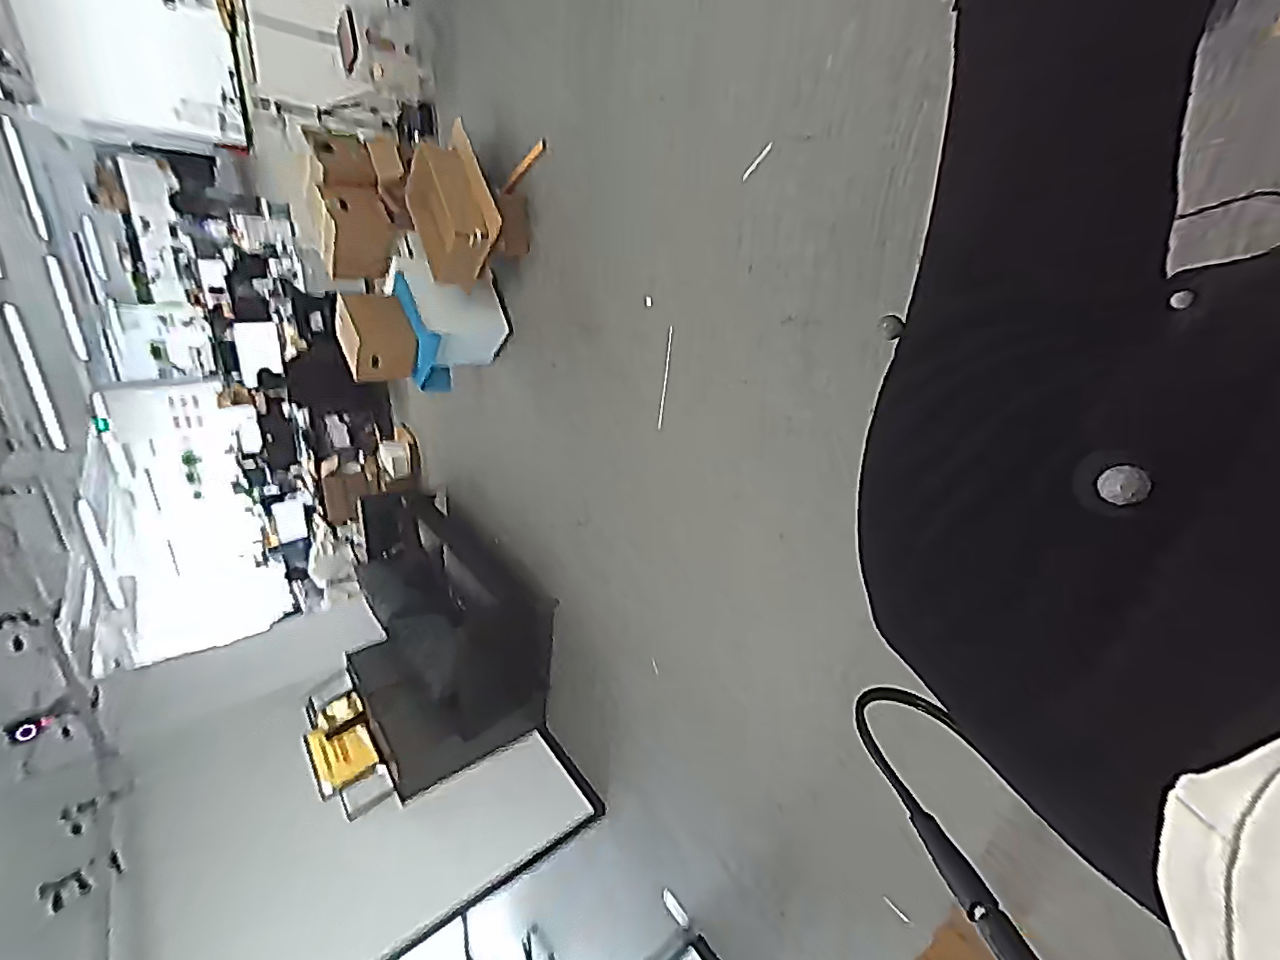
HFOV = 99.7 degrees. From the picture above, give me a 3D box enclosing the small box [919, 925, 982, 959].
[{"bbox_3d":[0.923,1.492,1.609,0.168,0.176,0.179,30,124,43],"label":"small box"}]
